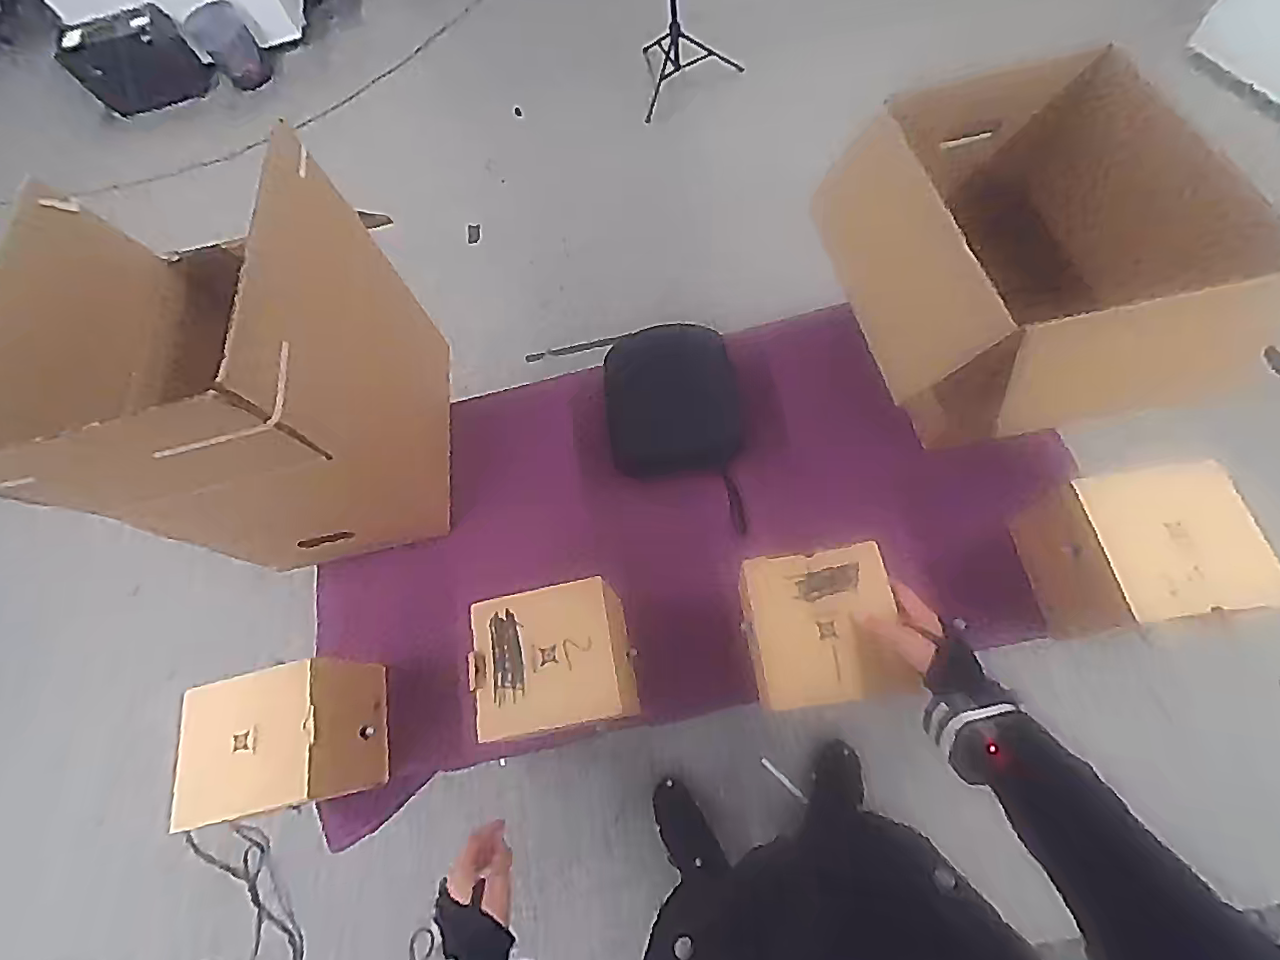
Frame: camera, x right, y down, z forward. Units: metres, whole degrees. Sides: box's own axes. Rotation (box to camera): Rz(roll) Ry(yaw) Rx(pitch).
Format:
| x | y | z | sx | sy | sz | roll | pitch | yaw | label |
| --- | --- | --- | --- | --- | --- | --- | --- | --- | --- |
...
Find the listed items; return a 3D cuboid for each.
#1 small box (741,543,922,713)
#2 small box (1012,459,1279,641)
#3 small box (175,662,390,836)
| x | y | z | sx | sy | sz | roll | pitch | yaw | label |
| --- | --- | --- | --- | --- | --- | --- | --- | --- | --- |
| 0.229 | 0.199 | 0.701 | 0.168 | 0.176 | 0.179 | -10 | 66 | 5 | small box |
| 0.616 | 0.096 | 0.683 | 0.168 | 0.176 | 0.179 | -9 | 66 | 6 | small box |
| -0.470 | 0.360 | 0.738 | 0.179 | 0.176 | 0.168 | -15 | 65 | 0 | small box |
